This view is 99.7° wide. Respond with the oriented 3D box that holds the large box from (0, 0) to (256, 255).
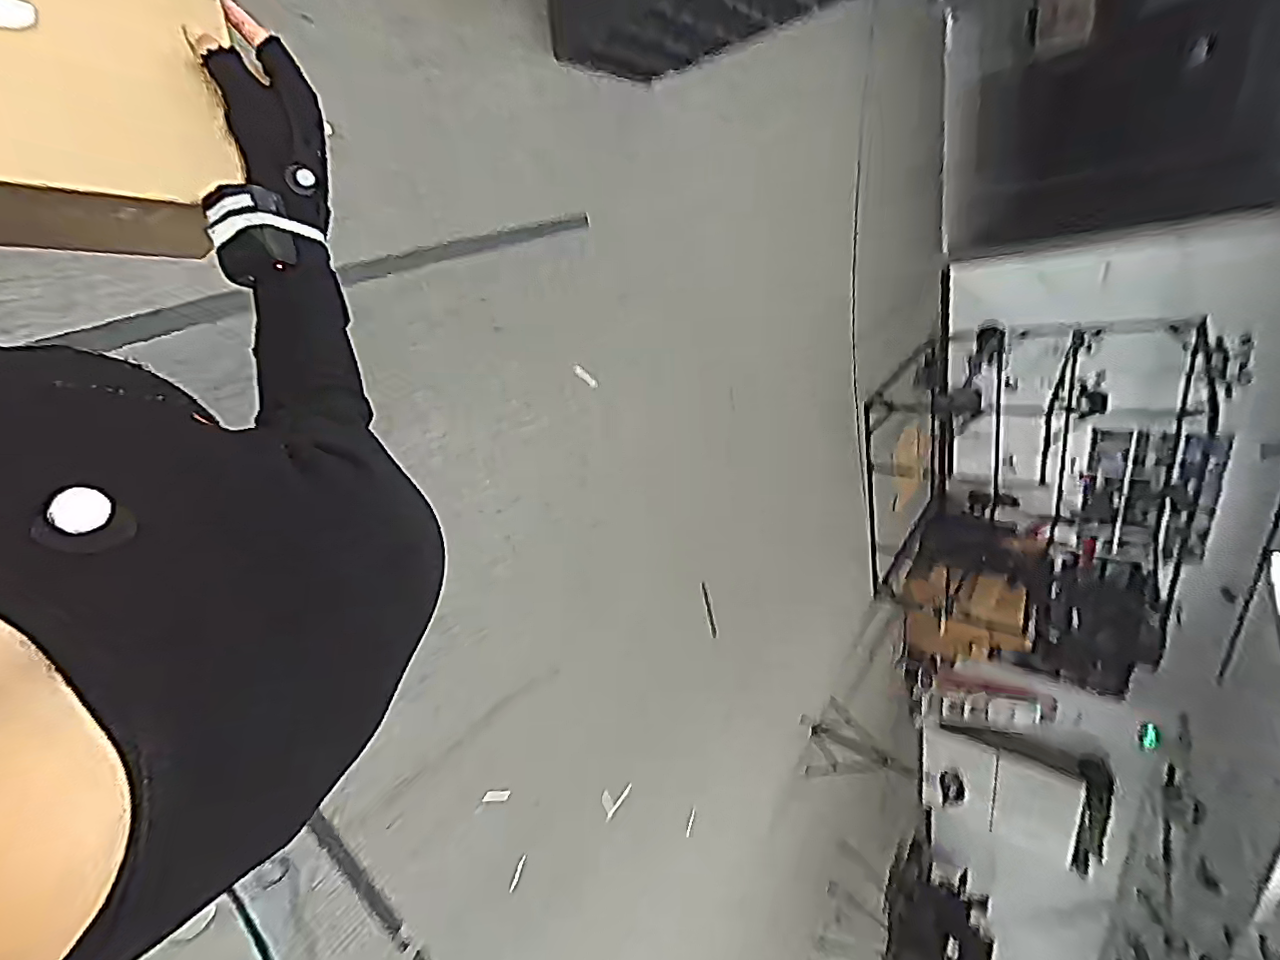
[{"bbox_3d":[-0.582,-0.365,0.399,0.408,0.320,0.320,-15,110,-43],"label":"large box"}]
